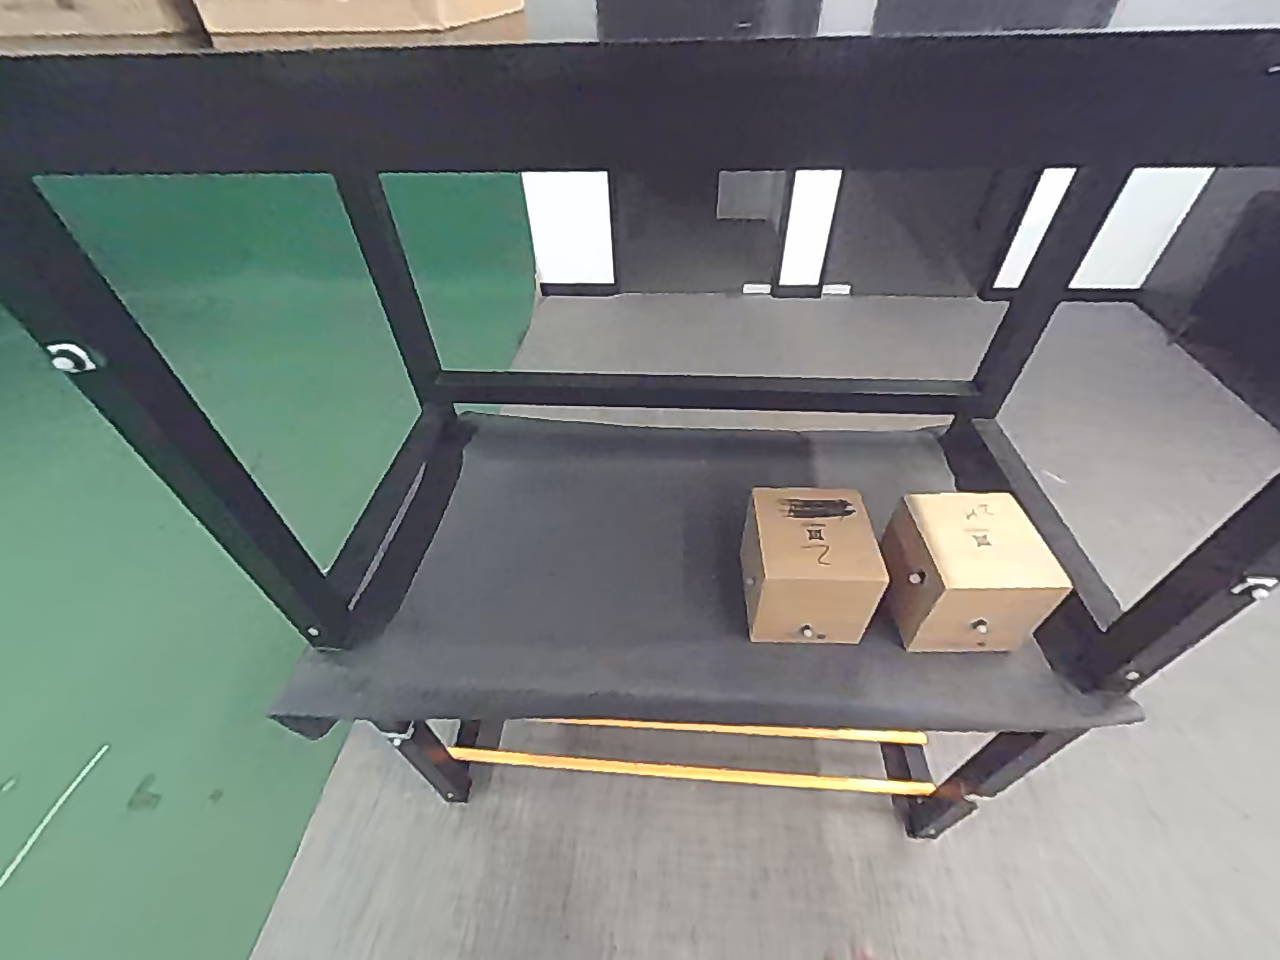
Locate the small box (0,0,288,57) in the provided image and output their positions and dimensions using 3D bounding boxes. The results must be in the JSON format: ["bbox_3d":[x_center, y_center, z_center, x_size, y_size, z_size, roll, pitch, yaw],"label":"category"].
[{"bbox_3d":[-0.381,-0.405,0.364,0.168,0.176,0.179,1,46,3],"label":"small box"}]

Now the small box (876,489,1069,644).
[{"bbox_3d":[0.483,0.134,0.821,0.168,0.176,0.179,-1,44,1],"label":"small box"}]
